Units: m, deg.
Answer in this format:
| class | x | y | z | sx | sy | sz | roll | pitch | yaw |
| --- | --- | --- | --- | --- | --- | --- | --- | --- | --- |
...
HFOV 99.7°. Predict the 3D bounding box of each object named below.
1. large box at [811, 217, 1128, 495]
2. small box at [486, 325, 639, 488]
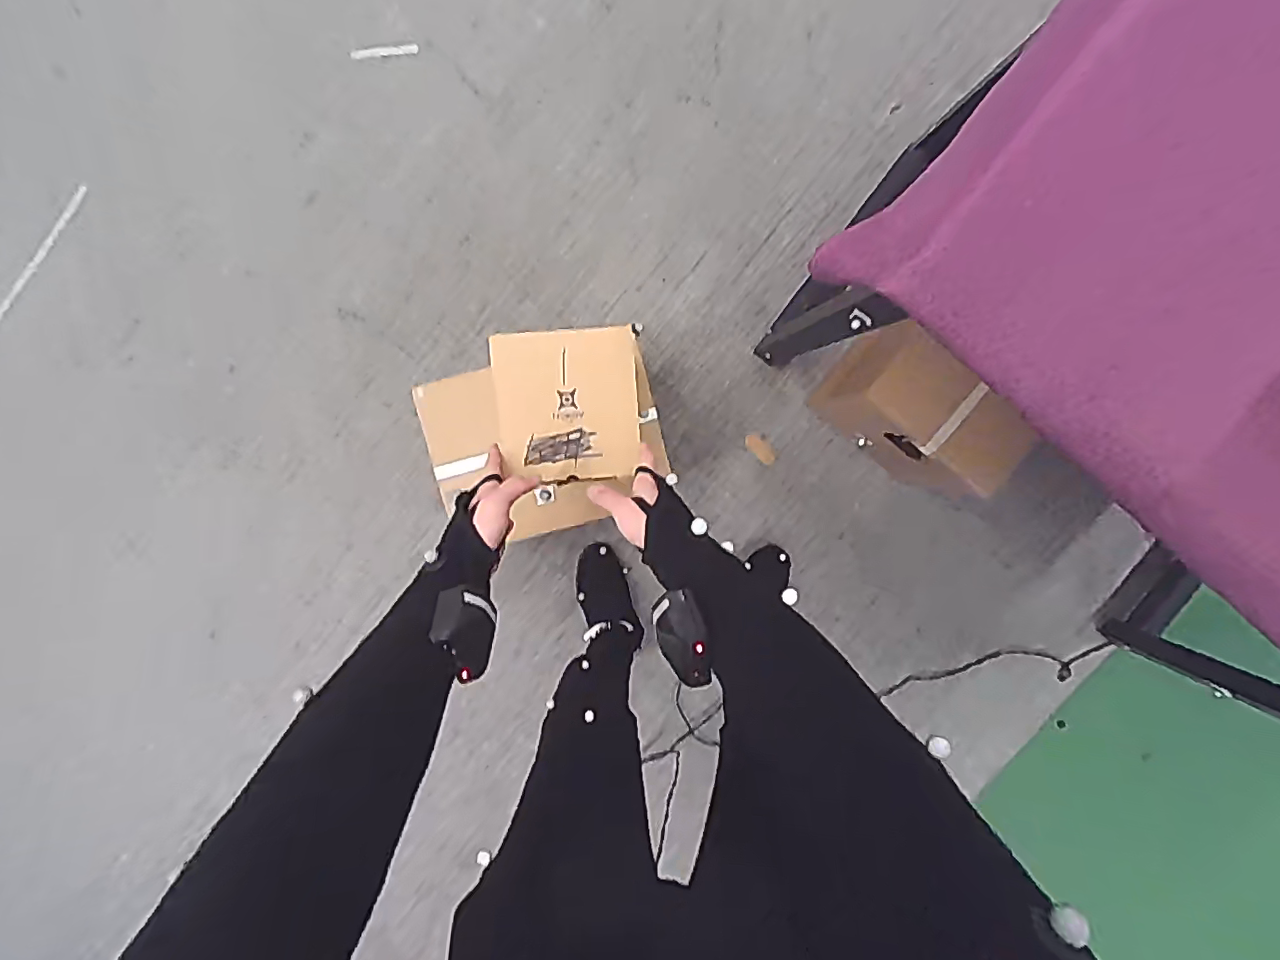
| class | x | y | z | sx | sy | sz | roll | pitch | yaw |
| --- | --- | --- | --- | --- | --- | --- | --- | --- | --- |
| large box | 0.635 | -0.227 | 1.115 | 0.320 | 0.320 | 0.408 | 38 | 92 | -6 |
| small box | -0.088 | -0.089 | 0.691 | 0.168 | 0.176 | 0.179 | -5 | 94 | -2 |
